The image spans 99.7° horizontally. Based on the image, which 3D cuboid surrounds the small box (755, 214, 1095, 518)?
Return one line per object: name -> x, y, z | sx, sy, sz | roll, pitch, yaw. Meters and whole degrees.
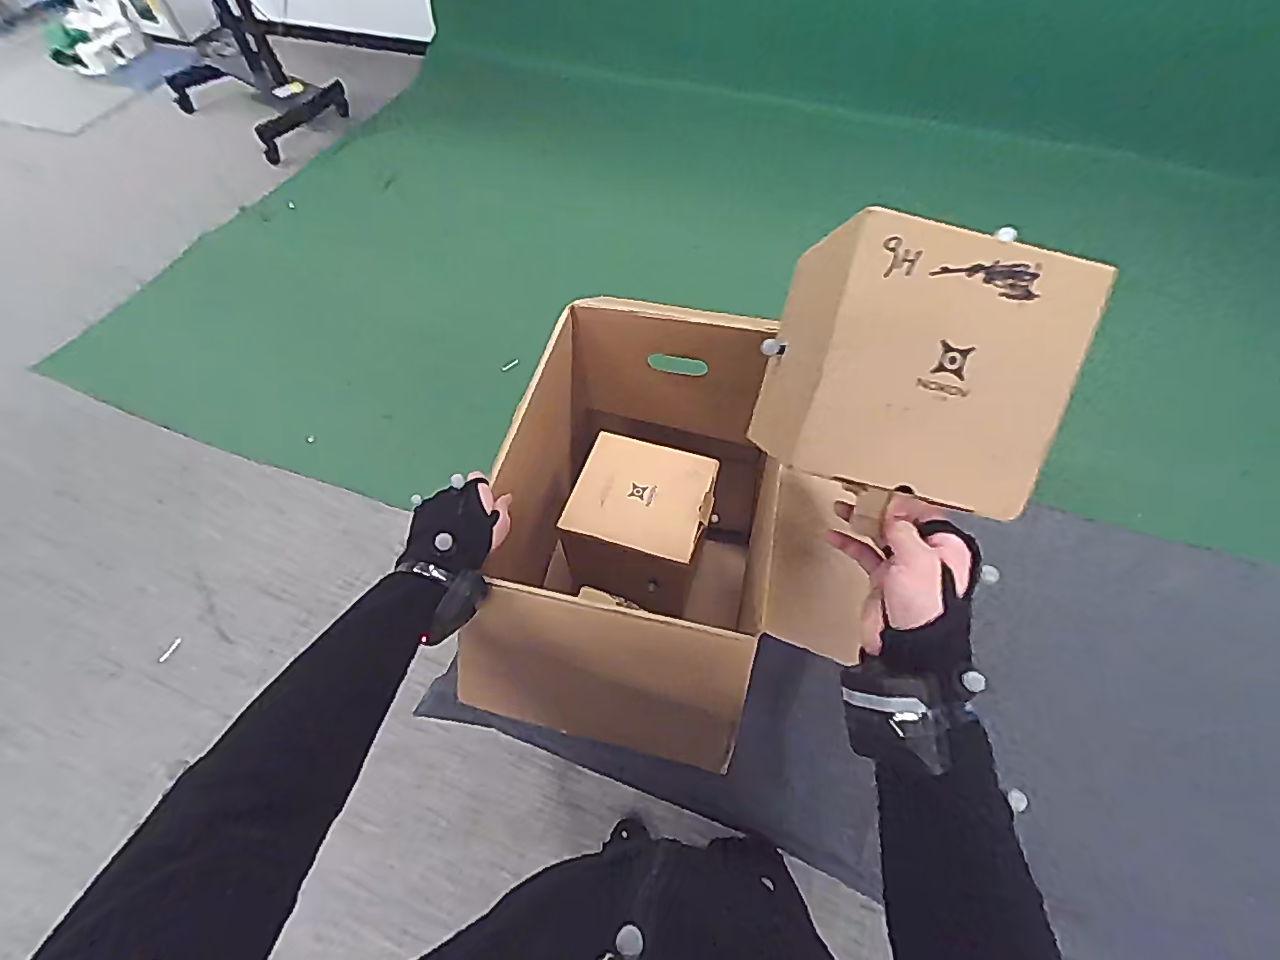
small box -> 0.202, -0.089, 0.447 | 0.168, 0.176, 0.179 | 13, 102, -1
